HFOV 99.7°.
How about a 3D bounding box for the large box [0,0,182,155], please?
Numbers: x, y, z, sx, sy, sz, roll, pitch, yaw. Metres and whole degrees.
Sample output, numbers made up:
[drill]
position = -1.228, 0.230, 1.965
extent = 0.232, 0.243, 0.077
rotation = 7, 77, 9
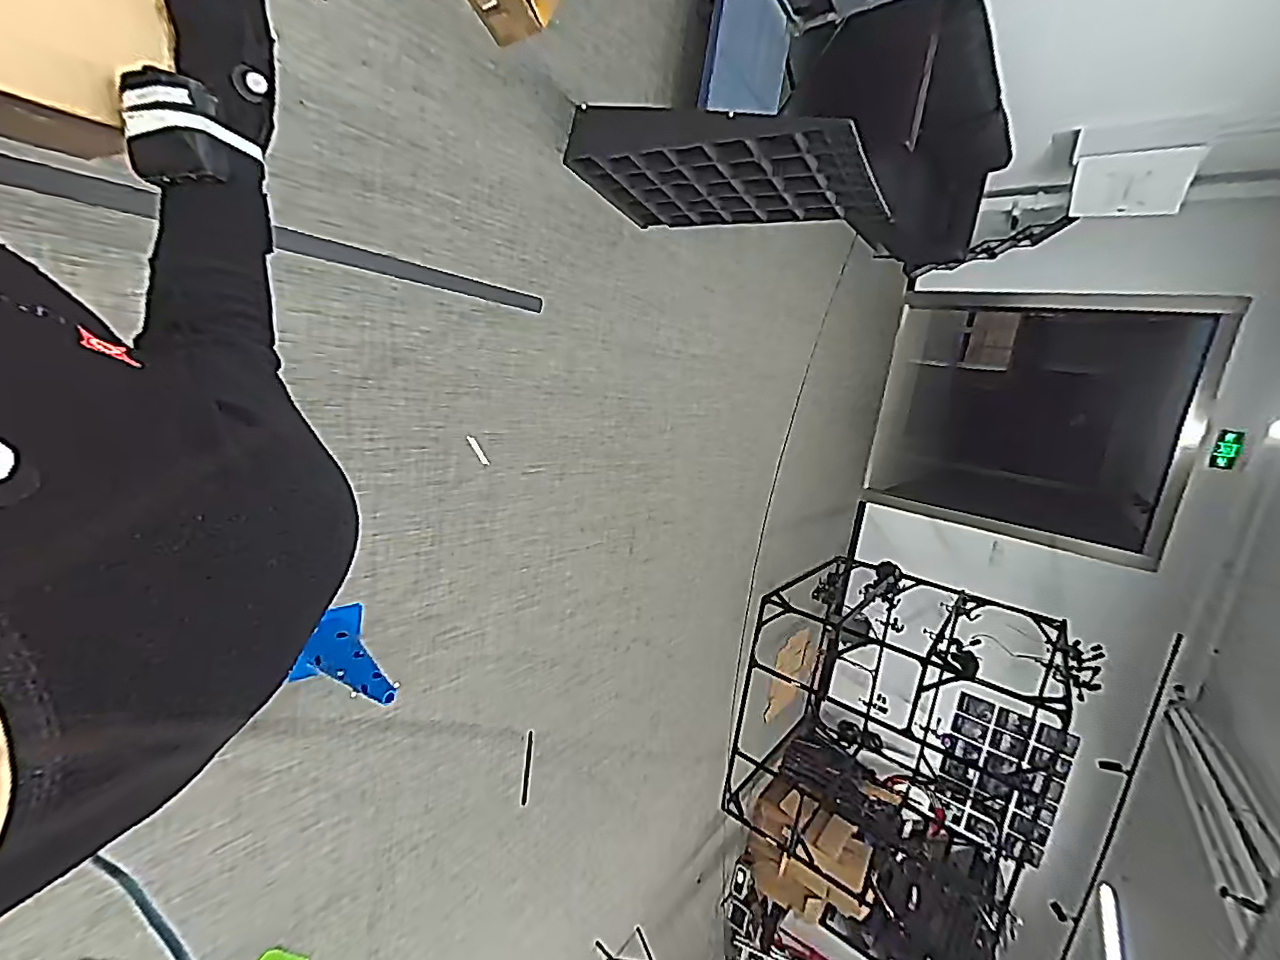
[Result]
[large box]
position = -0.560, -0.424, 0.297
extent = 0.408, 0.320, 0.320
rotation = -9, 115, -54

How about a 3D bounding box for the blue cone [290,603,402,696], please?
[blue cone]
position = -0.784, 0.500, 1.485
extent = 0.192, 0.380, 0.193
rotation = -1, 104, -55

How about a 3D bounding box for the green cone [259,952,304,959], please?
[green cone]
position = -1.025, 1.603, 1.557
extent = 0.202, 0.368, 0.200
rotation = -50, 139, -32
